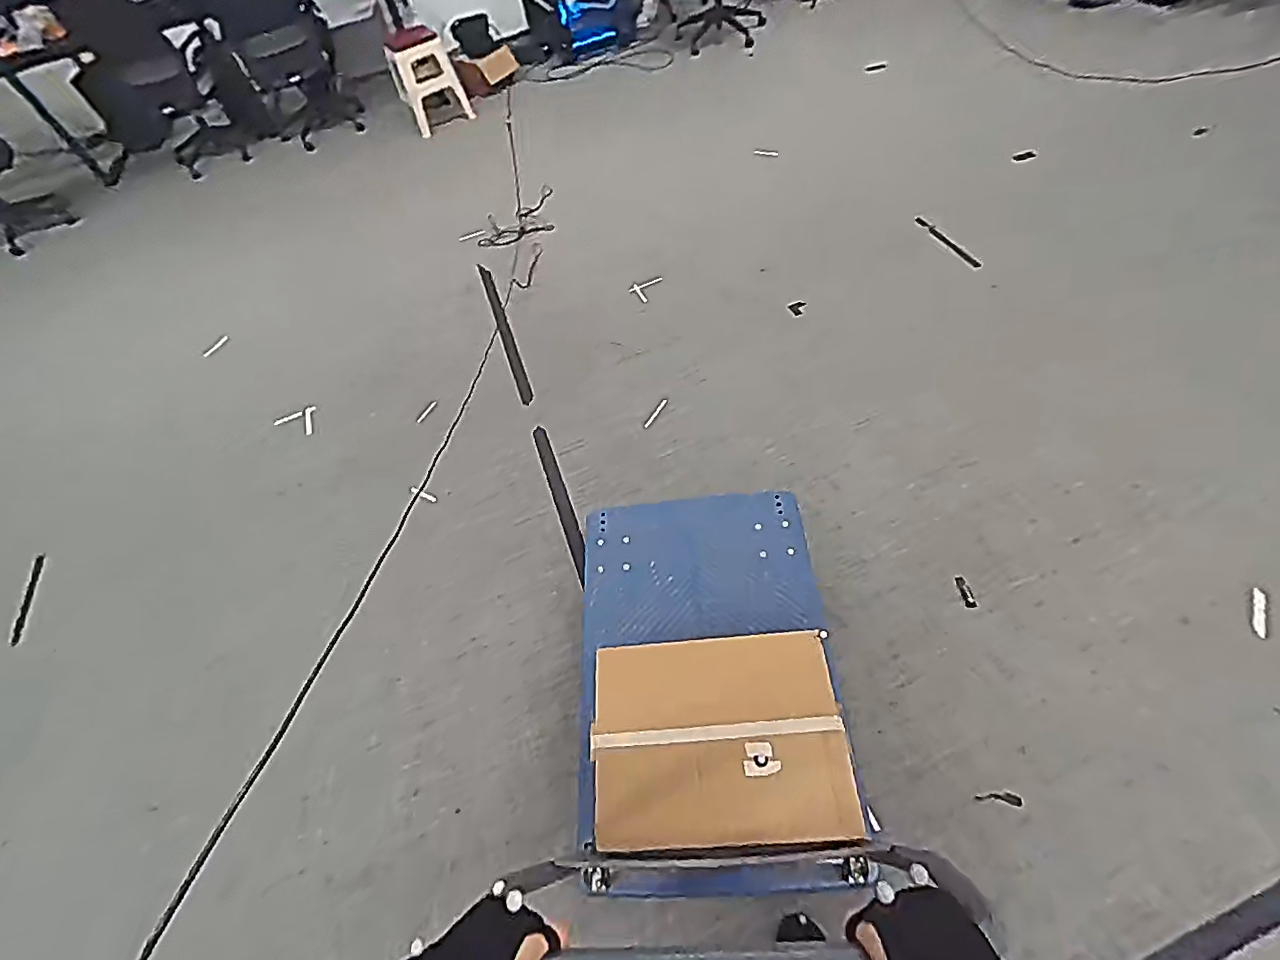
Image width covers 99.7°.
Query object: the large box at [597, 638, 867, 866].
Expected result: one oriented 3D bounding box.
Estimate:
[{"bbox_3d":[0.144,0.512,1.001,0.408,0.320,0.320,-6,55,5],"label":"large box"}]
